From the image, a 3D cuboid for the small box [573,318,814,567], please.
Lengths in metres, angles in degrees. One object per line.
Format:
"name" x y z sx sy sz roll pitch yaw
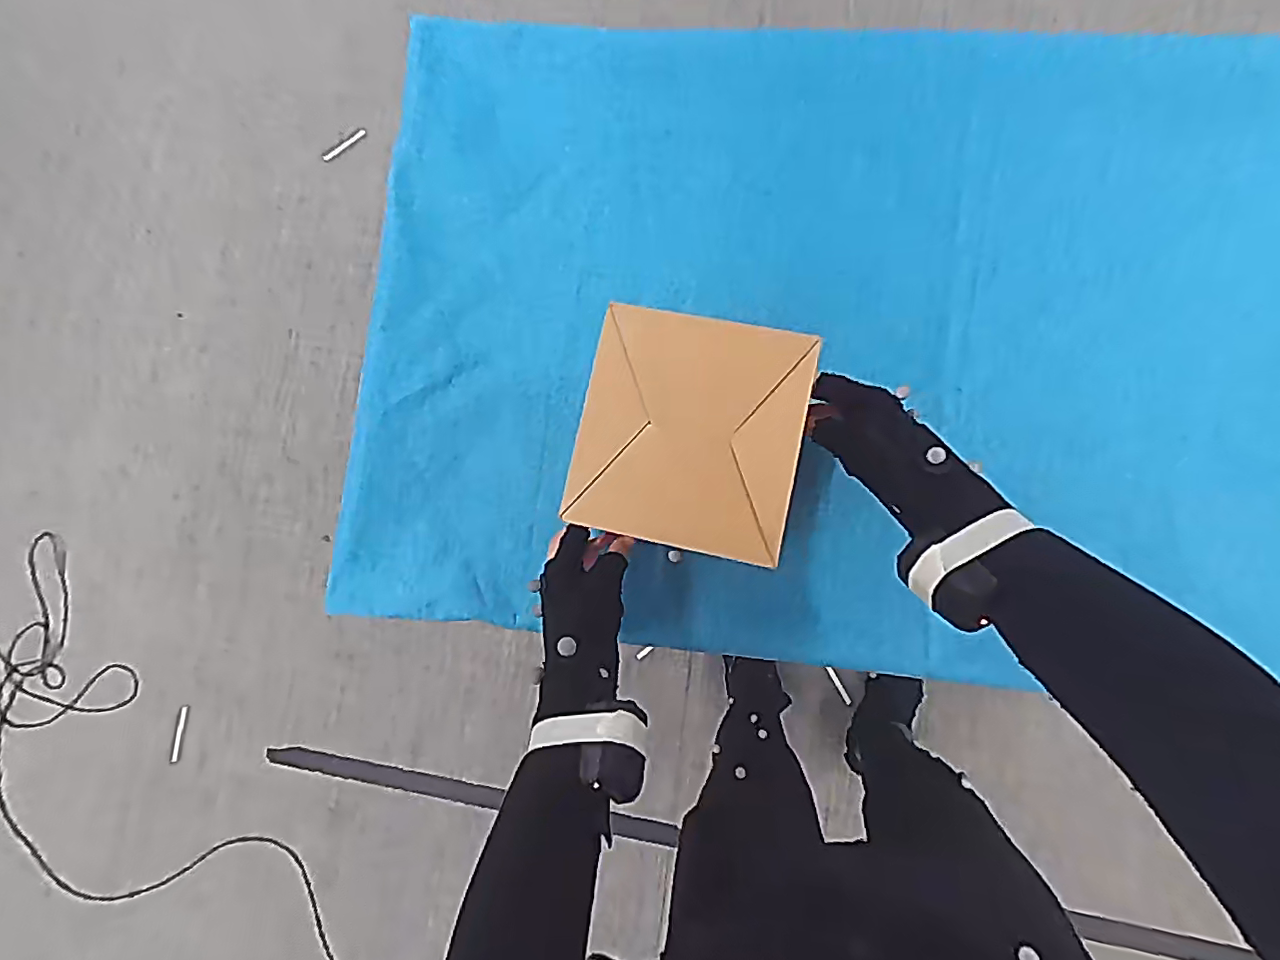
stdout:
"small box" 0.049 -0.022 0.489 0.168 0.176 0.179 11 85 8
